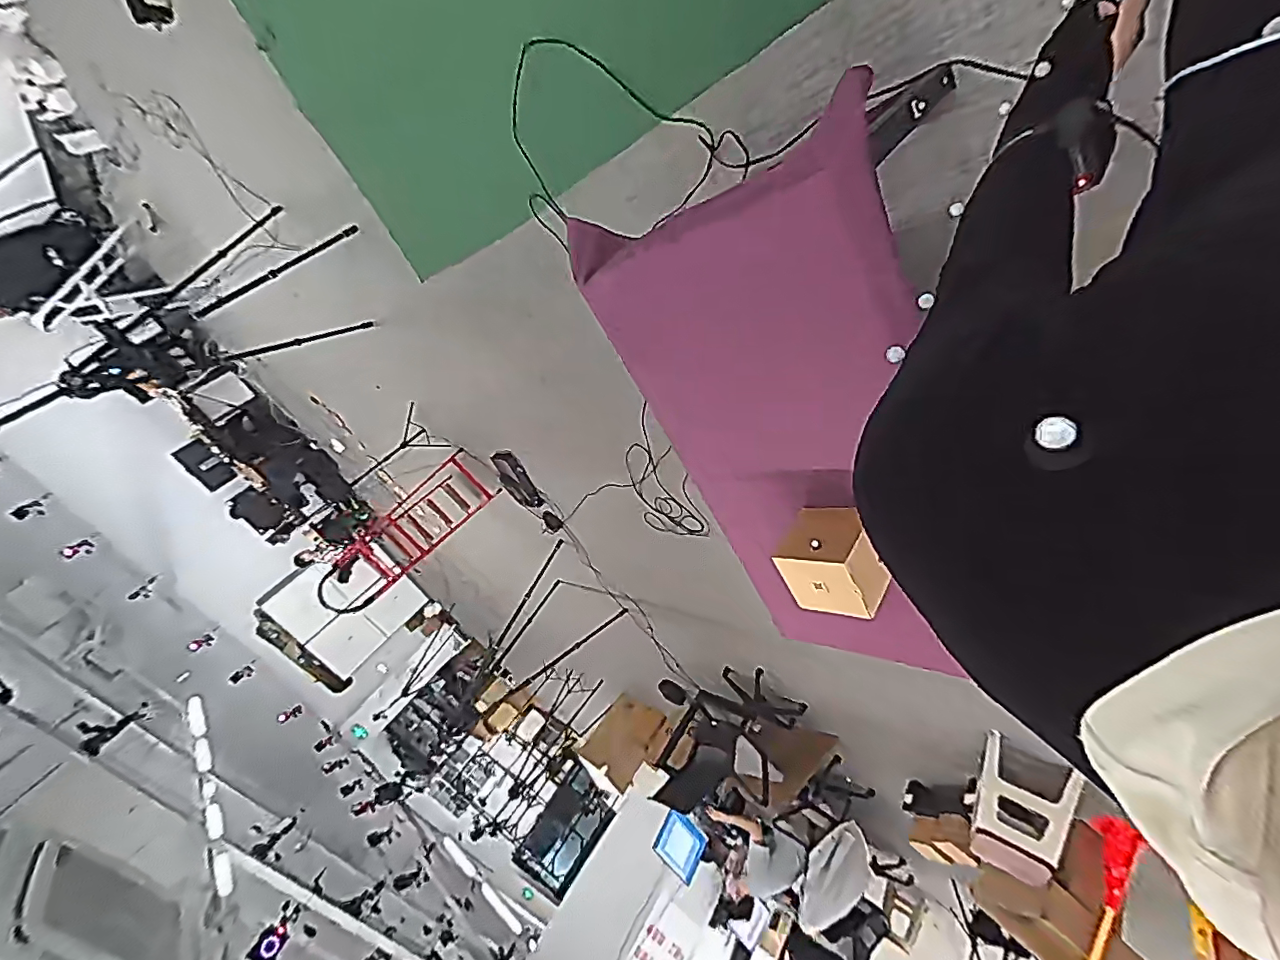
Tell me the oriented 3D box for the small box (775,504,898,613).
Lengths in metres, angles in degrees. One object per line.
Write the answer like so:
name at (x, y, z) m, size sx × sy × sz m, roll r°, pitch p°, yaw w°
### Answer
small box at (0.437, 0.166, 1.194) m, size 0.179 × 0.176 × 0.168 m, roll -4°, pitch 126°, yaw 49°
